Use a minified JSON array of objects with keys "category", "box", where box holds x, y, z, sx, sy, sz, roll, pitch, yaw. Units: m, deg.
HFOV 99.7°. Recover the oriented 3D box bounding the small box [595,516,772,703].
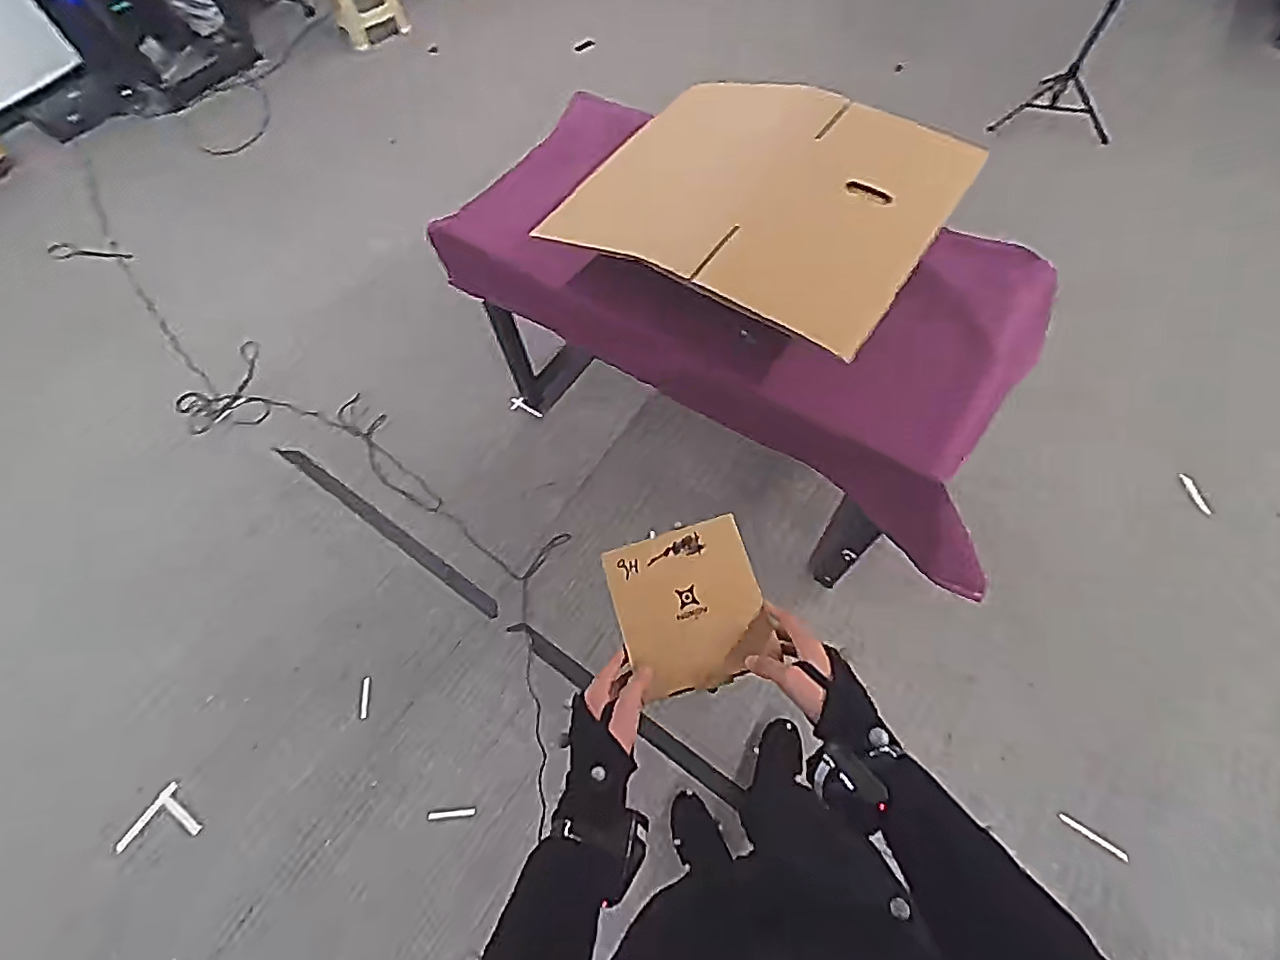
[{"category":"small box","box":[0.053,0.164,0.695,0.168,0.176,0.179,-17,74,-1]}]
